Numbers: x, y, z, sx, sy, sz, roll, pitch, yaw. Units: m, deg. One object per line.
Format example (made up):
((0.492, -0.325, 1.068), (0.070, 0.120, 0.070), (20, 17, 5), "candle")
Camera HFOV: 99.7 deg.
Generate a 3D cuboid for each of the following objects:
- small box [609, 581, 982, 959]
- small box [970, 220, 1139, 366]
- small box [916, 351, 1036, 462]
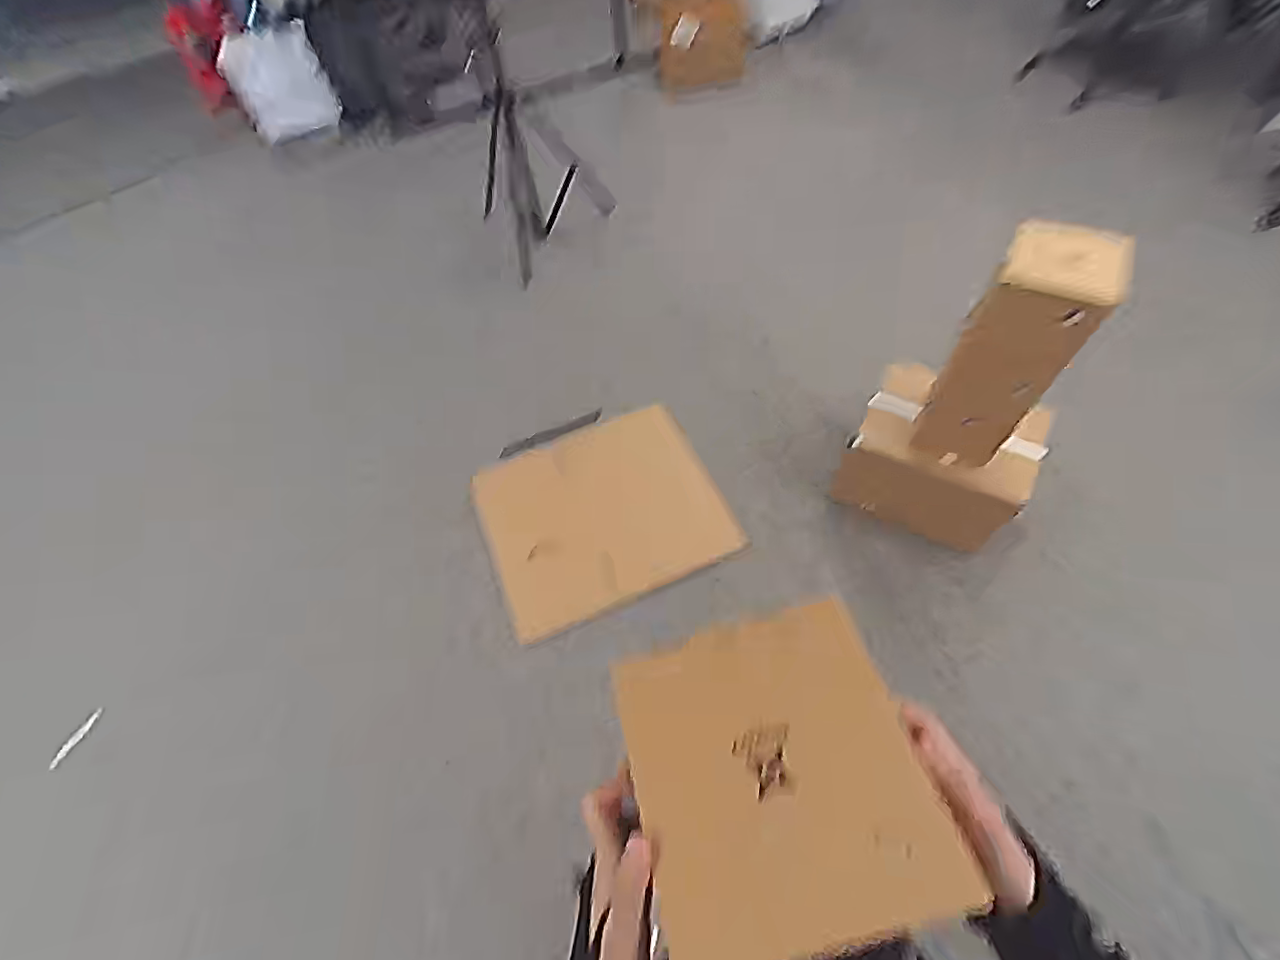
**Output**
((0.094, 0.204, 0.383), (0.168, 0.176, 0.179), (-20, 52, 2), "small box")
((0.745, -0.334, 0.985), (0.179, 0.176, 0.168), (23, 64, 18), "small box")
((0.778, -0.167, 1.267), (0.179, 0.176, 0.168), (23, 65, 17), "small box")
